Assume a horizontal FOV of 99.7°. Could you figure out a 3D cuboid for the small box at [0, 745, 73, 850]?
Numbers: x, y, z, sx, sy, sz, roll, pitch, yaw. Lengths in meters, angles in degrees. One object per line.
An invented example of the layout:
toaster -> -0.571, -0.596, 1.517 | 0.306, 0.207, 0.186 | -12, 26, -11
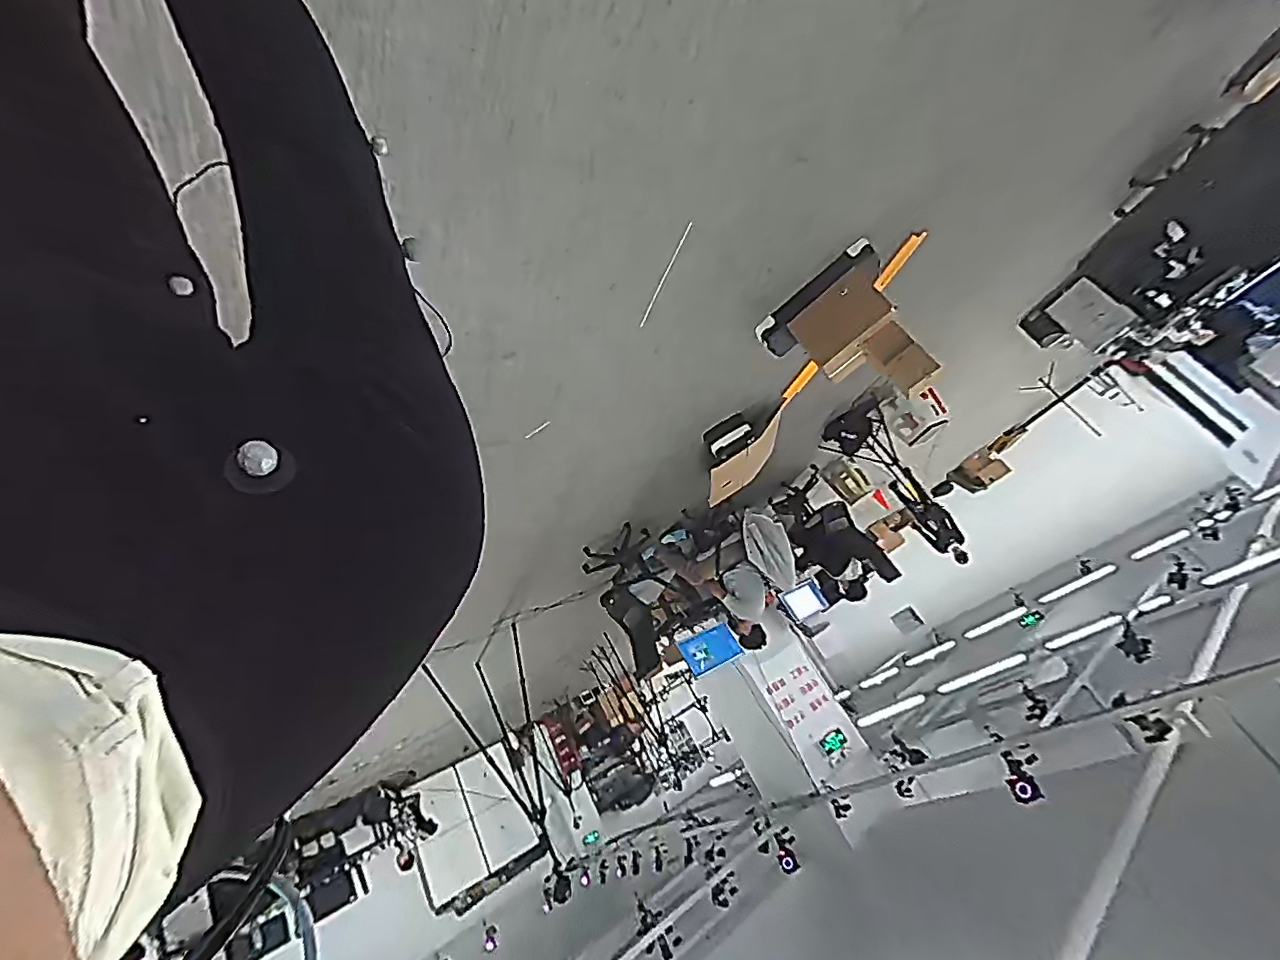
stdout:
small box -> -1.549, 0.784, 1.324 | 0.179, 0.176, 0.168 | -17, 153, -32
